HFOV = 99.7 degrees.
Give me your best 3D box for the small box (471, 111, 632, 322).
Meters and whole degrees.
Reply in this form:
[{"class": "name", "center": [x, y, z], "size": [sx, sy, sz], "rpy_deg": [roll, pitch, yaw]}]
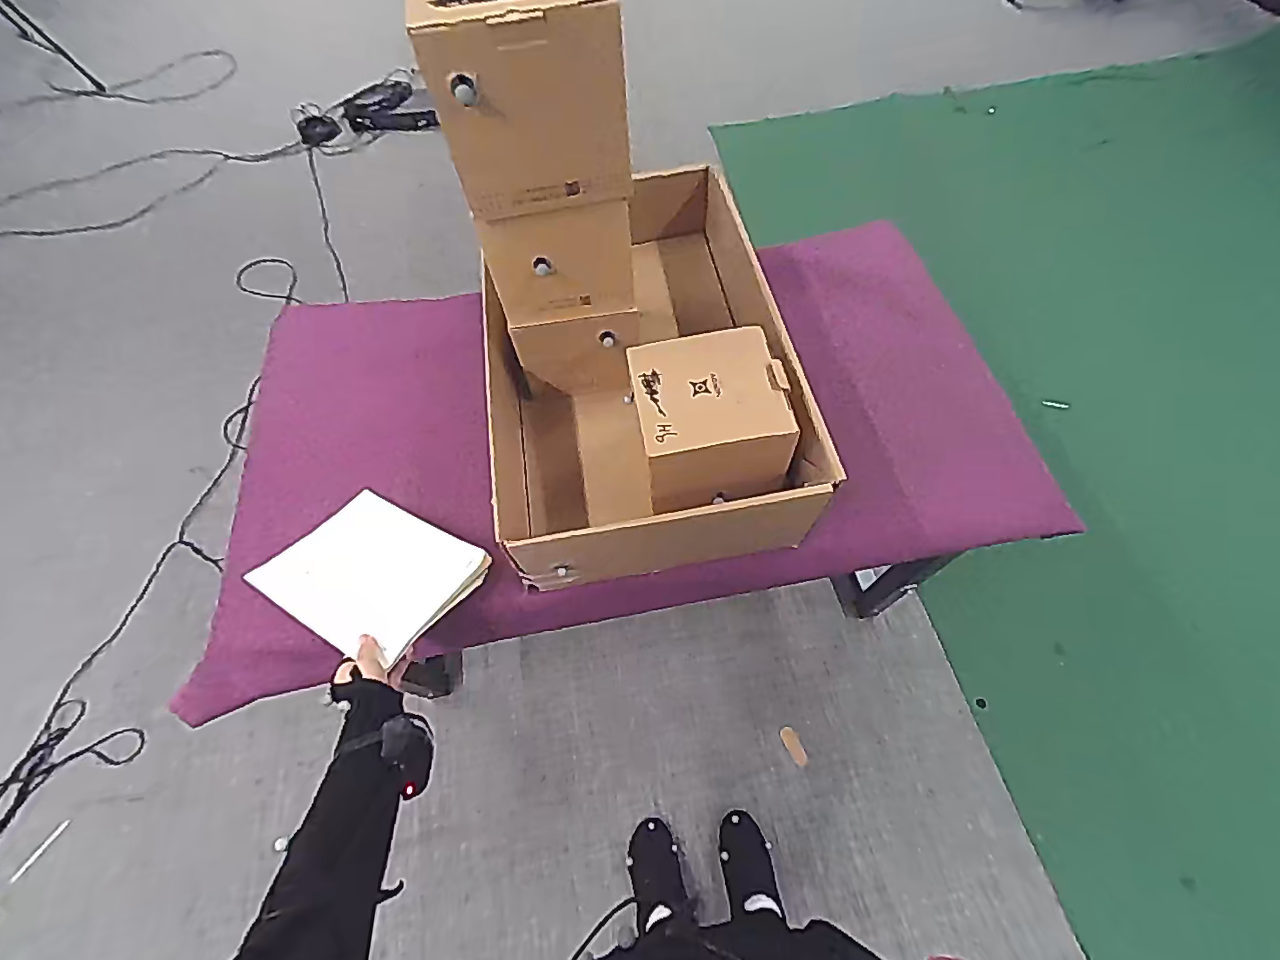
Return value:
[{"class": "small box", "center": [-0.104, -0.317, 0.677], "size": [0.168, 0.176, 0.179], "rpy_deg": [-8, 62, -2]}]
